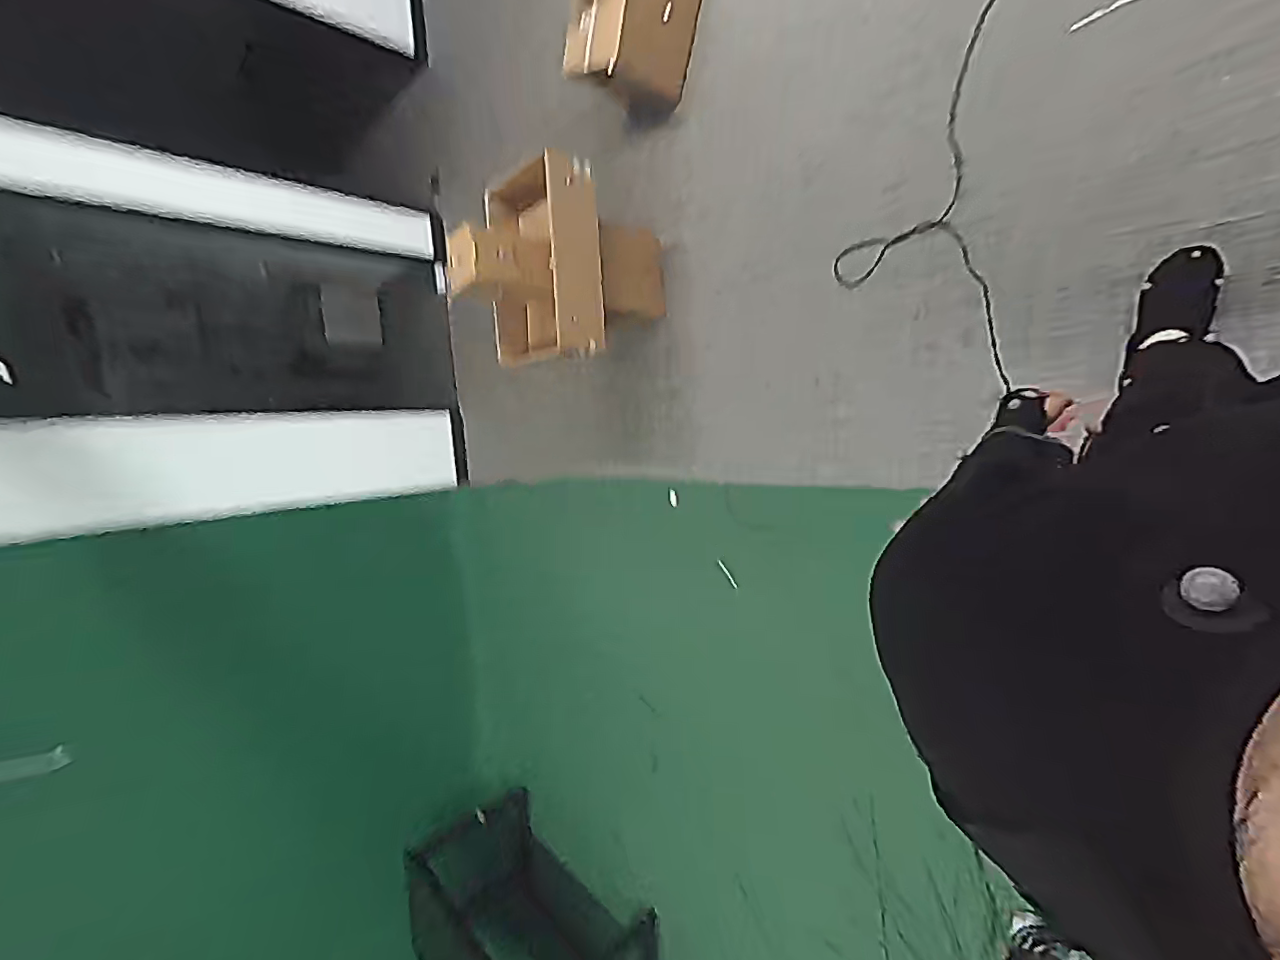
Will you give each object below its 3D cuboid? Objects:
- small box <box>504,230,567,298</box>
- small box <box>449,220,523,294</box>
[{"bbox_3d":[-0.369,-0.729,1.846,0.179,0.176,0.168,2,98,47],"label":"small box"},{"bbox_3d":[-0.487,-0.708,1.735,0.179,0.176,0.168,-2,94,46],"label":"small box"}]
